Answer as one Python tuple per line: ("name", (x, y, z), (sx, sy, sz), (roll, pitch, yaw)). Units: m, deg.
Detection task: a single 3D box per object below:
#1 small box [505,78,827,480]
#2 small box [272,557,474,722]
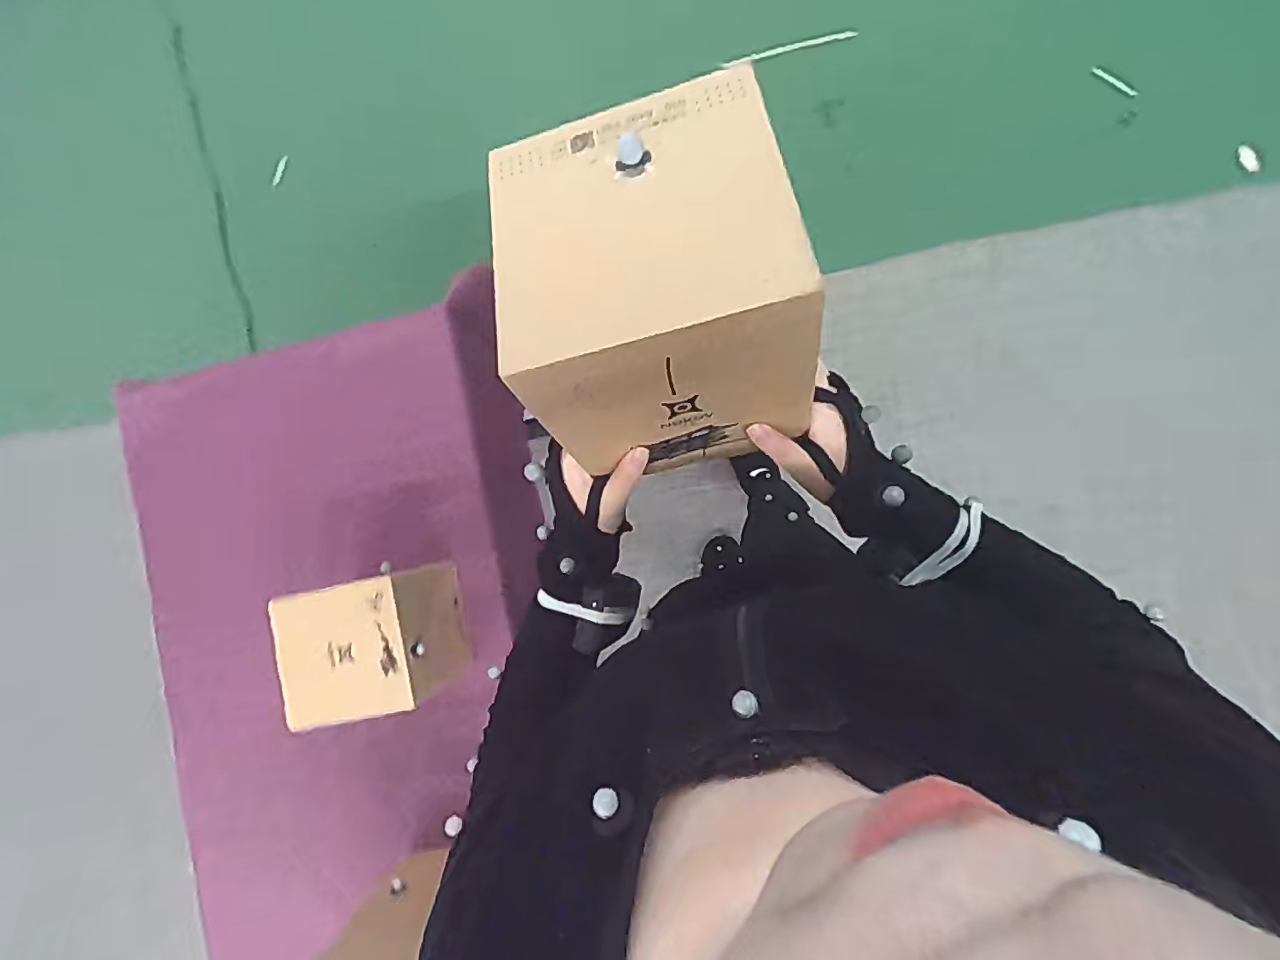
("small box", (0.019, -0.119, 0.373), (0.168, 0.179, 0.176), (-12, 67, 10))
("small box", (-0.361, 0.212, 0.757), (0.179, 0.176, 0.168), (-13, 88, 8))
